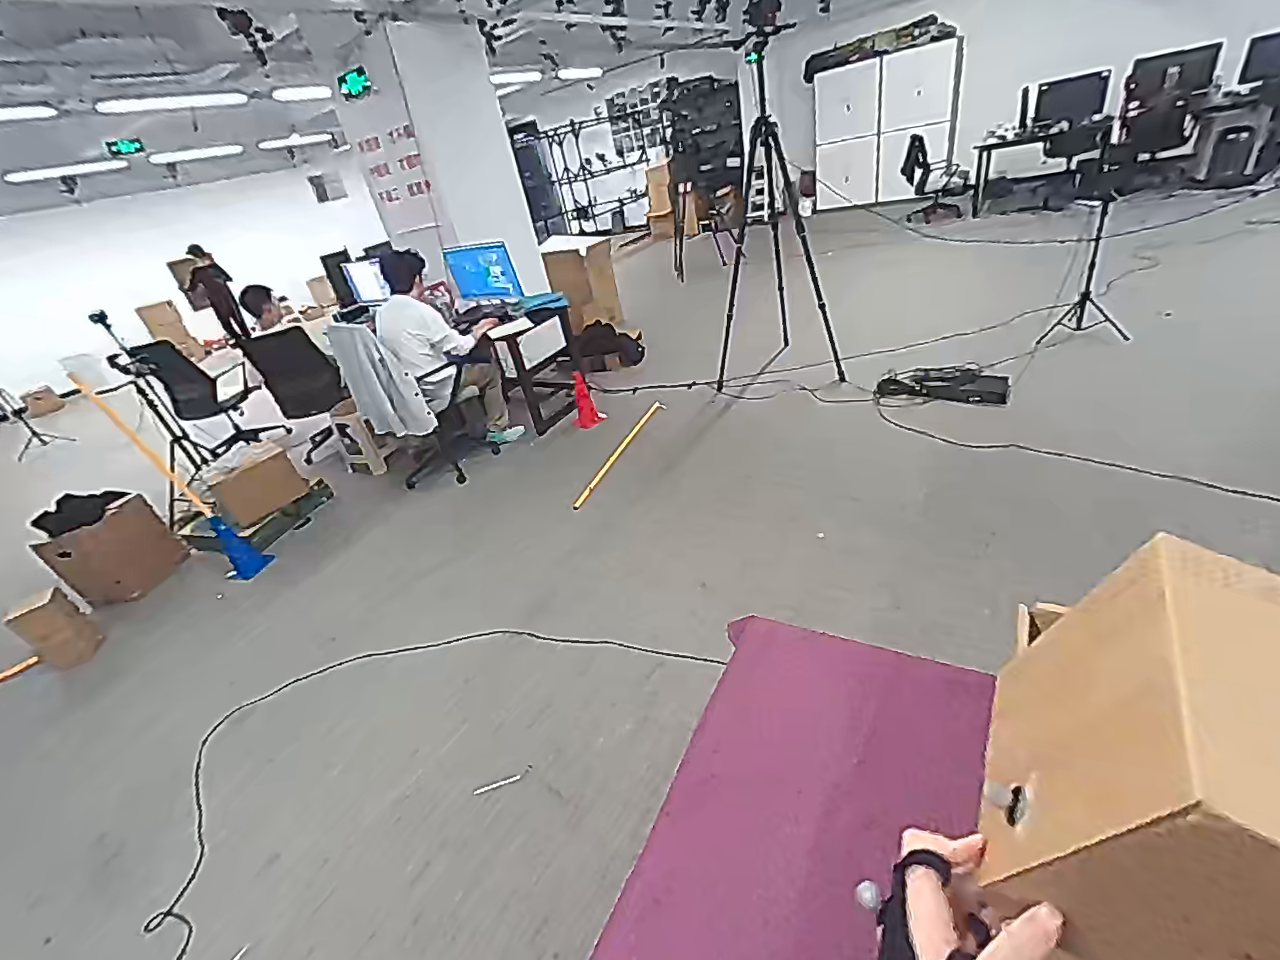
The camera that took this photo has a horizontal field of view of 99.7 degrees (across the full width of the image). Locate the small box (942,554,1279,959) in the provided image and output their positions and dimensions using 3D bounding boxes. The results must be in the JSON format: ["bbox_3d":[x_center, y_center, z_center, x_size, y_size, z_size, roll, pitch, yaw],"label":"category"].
[{"bbox_3d":[0.299,0.176,0.293,0.168,0.179,0.176,25,48,18],"label":"small box"}]
